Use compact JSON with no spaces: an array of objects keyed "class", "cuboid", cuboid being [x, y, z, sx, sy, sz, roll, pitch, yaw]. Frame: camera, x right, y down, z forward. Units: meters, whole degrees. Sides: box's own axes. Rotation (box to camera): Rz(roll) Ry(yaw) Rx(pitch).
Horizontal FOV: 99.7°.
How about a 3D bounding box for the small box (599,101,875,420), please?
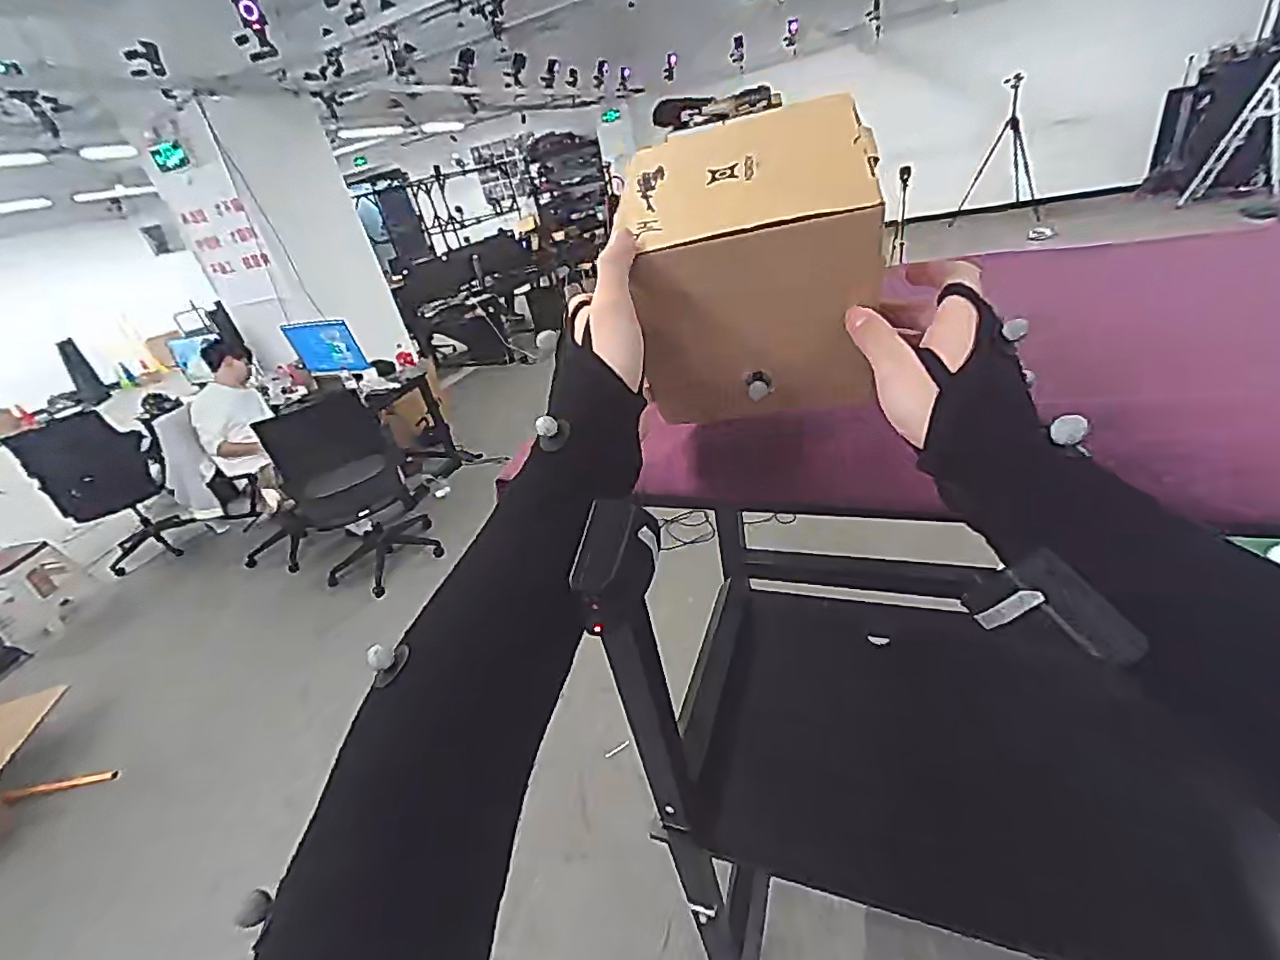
[{"class":"small box","cuboid":[0.086,-0.168,0.447,0.179,0.176,0.168,-4,51,17]}]
